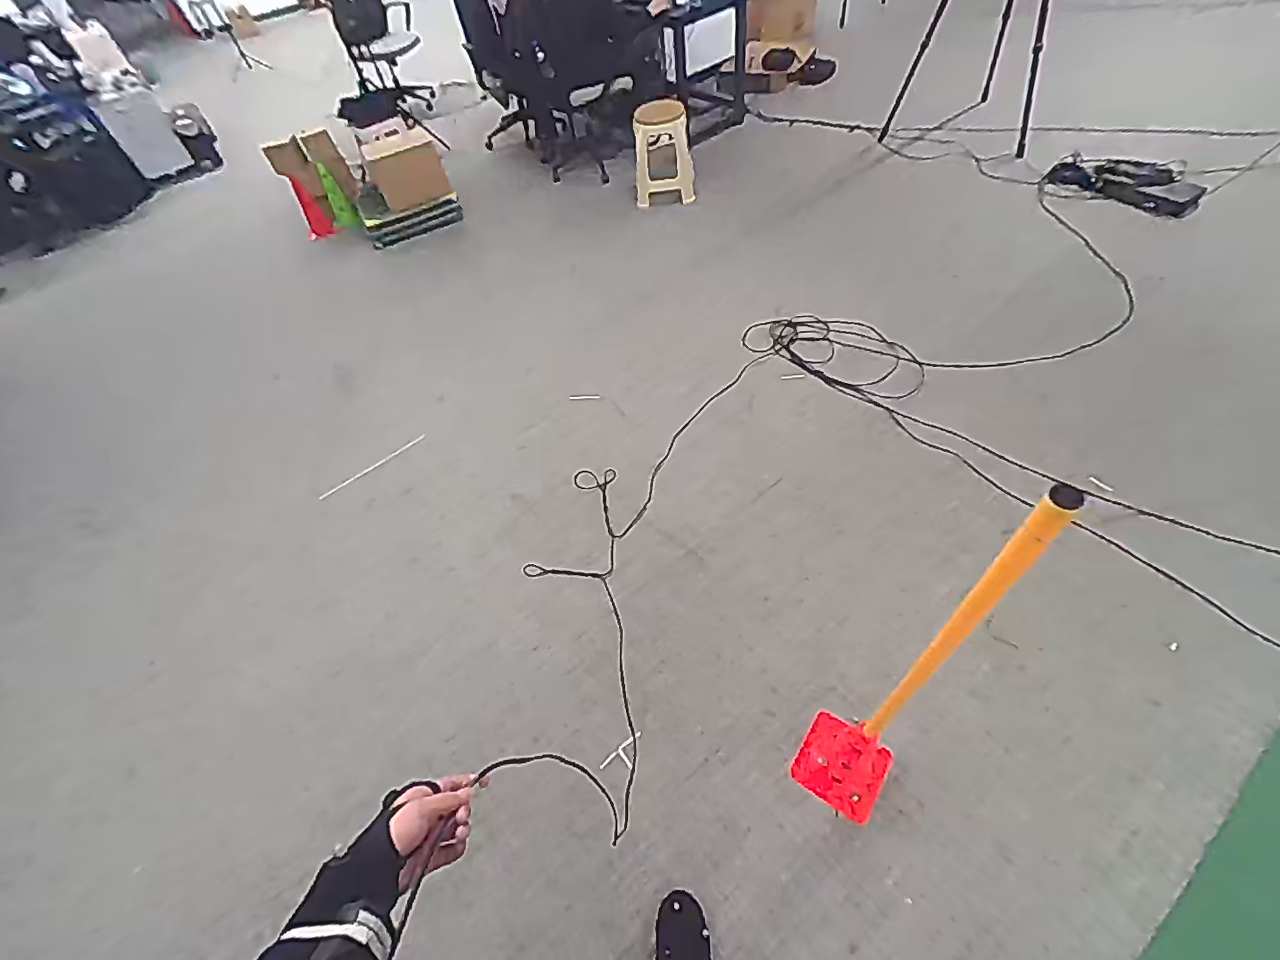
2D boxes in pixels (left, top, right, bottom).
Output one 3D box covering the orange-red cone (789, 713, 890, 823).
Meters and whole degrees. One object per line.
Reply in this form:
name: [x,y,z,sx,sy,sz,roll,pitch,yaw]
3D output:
orange-red cone: [0.484,0.614,1.231,0.198,0.360,0.199,29,60,26]
